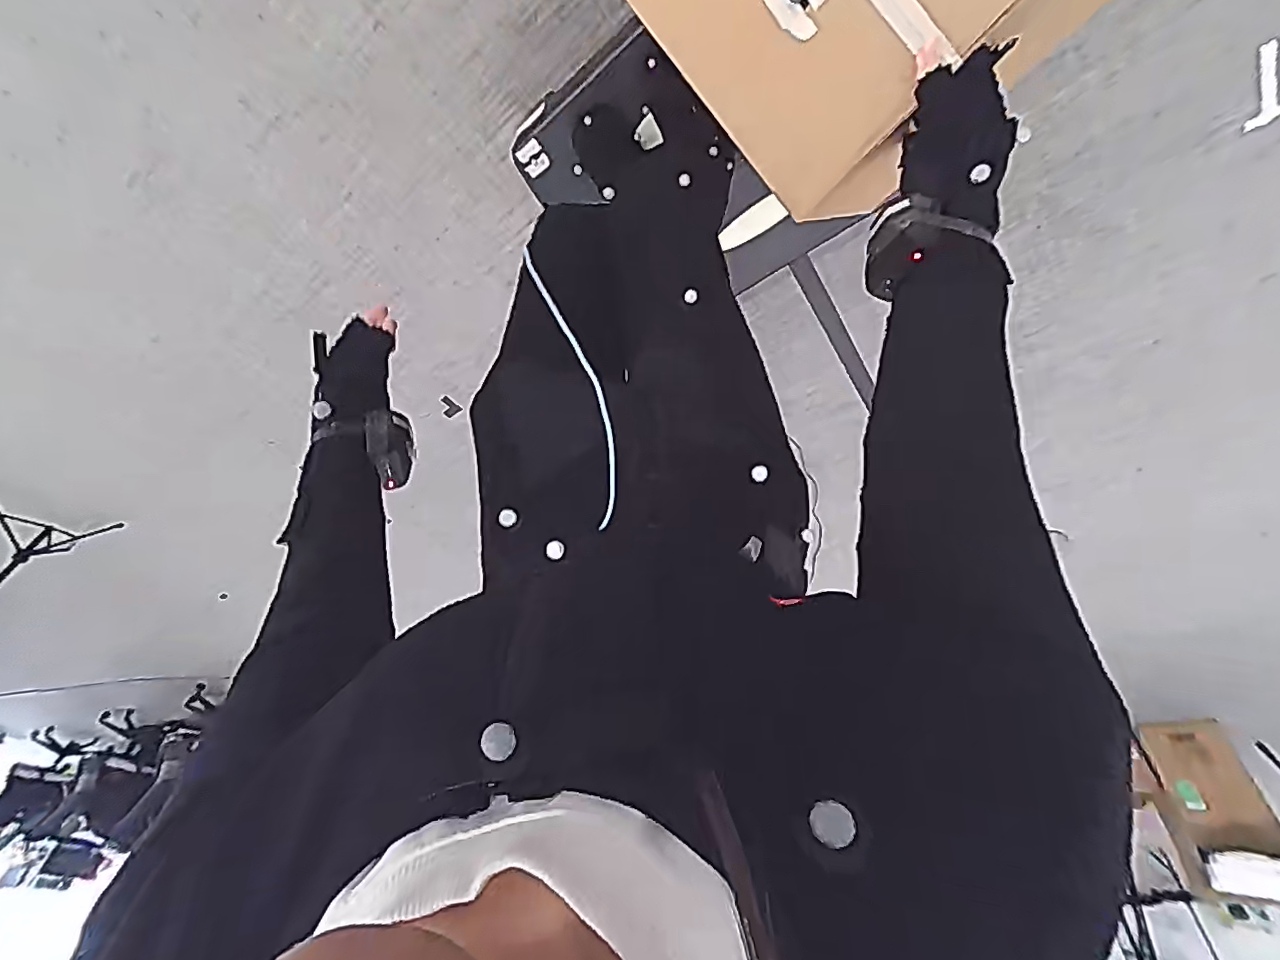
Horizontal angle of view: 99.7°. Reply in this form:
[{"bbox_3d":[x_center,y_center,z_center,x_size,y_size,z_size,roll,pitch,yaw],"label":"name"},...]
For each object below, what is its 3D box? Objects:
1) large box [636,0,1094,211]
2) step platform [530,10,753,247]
[{"bbox_3d":[0.213,-0.553,0.553,0.408,0.320,0.320,52,133,-1],"label":"large box"},{"bbox_3d":[0.117,-0.745,0.984,0.684,0.204,0.286,-26,130,30],"label":"step platform"}]
